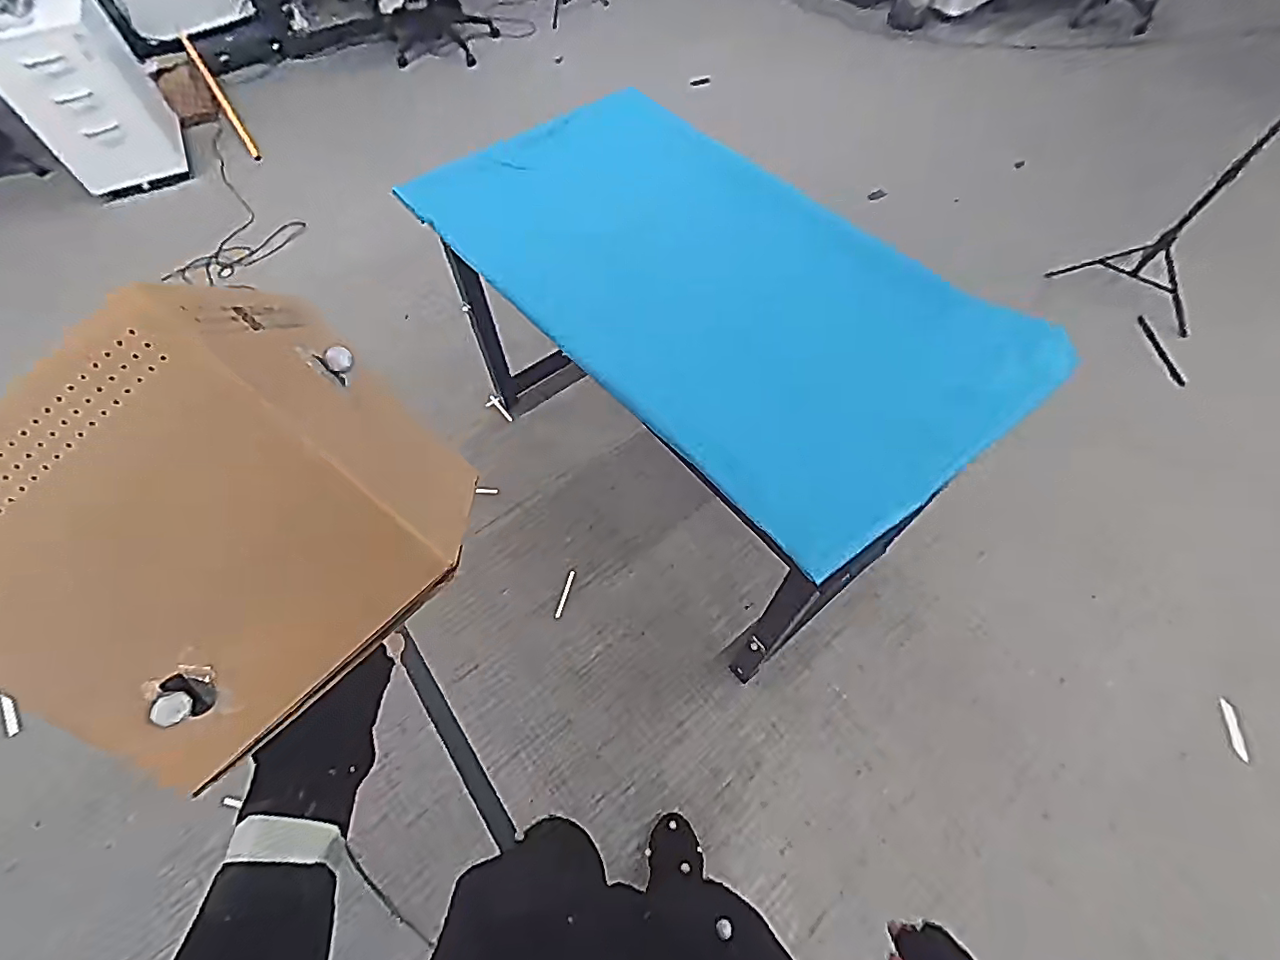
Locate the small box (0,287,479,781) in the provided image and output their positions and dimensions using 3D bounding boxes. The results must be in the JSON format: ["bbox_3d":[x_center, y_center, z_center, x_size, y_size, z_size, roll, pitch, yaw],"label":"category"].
[{"bbox_3d":[-0.220,0.017,0.313,0.179,0.176,0.168,-42,21,1],"label":"small box"}]
